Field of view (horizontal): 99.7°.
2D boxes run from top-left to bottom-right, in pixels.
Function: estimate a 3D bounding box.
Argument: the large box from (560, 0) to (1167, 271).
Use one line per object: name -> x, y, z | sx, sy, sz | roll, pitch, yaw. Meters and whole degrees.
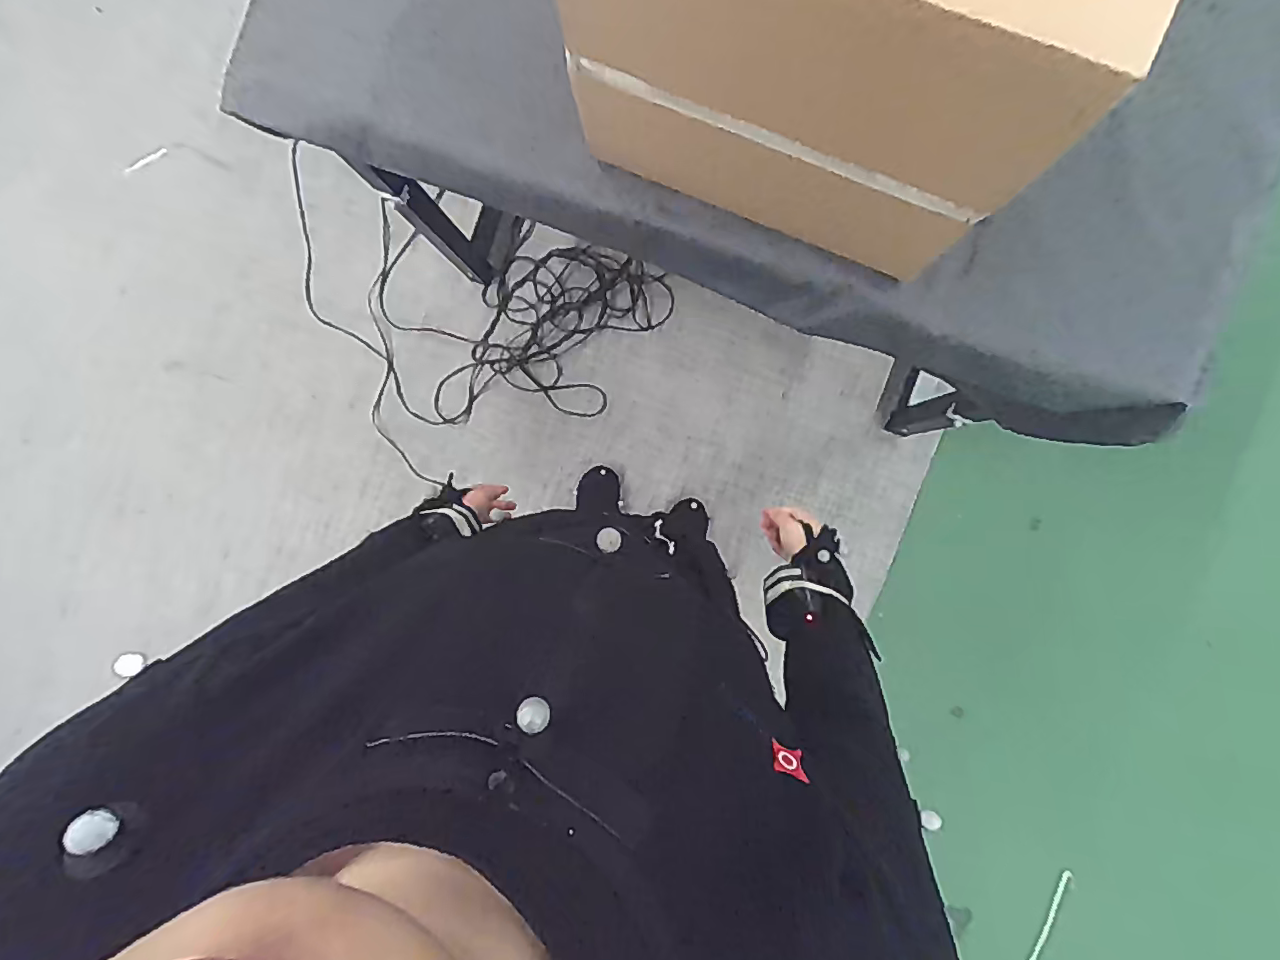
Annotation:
large box -> 0.177, -0.447, 0.482 | 0.408, 0.320, 0.320 | 22, 90, 2
